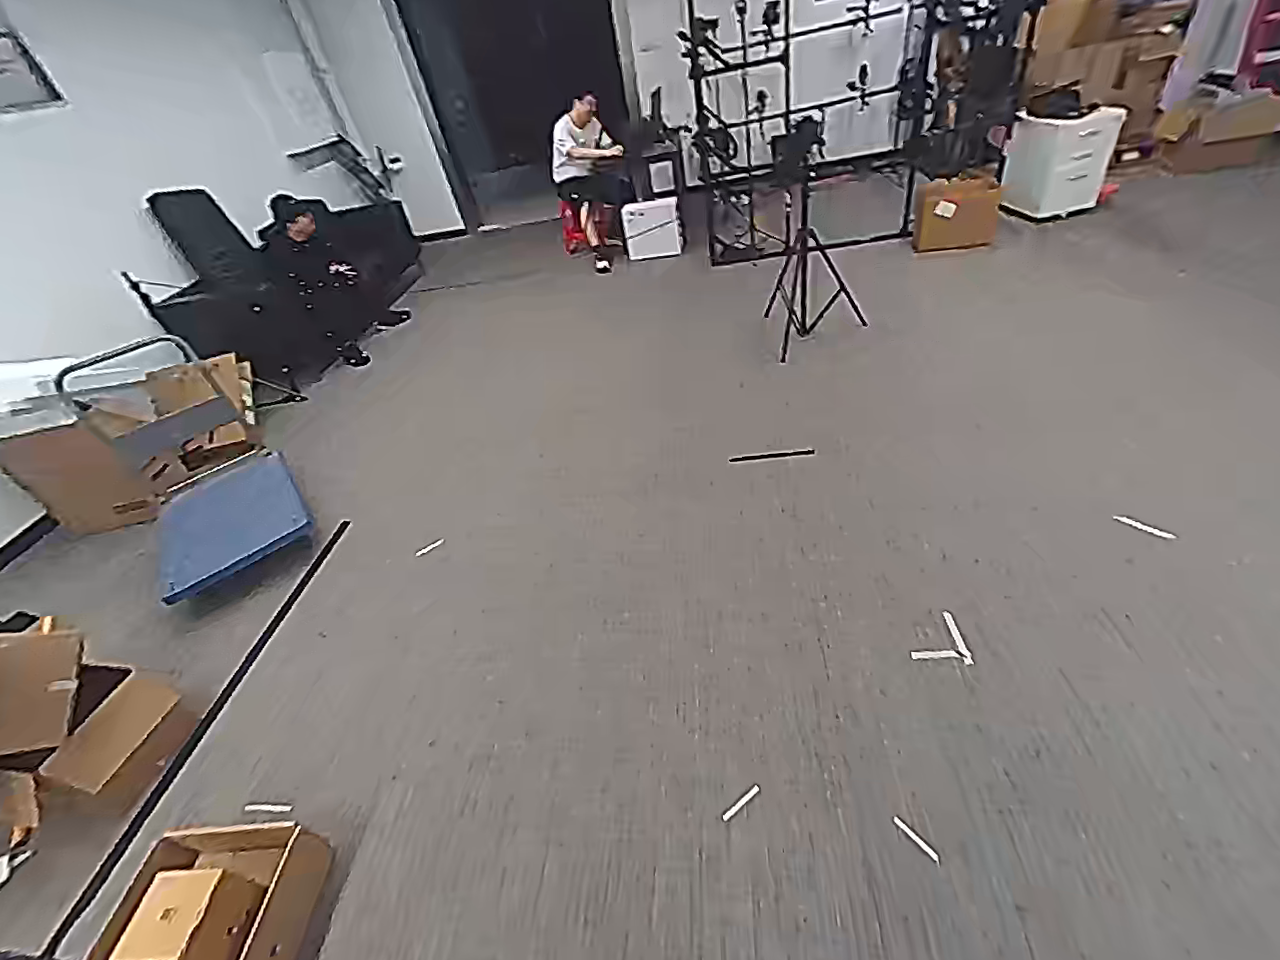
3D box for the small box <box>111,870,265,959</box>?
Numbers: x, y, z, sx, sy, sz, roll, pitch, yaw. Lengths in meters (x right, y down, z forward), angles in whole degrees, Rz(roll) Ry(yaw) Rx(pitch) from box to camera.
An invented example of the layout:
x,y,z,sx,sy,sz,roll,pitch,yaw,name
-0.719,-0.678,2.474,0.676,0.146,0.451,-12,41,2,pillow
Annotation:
x,y,z,sx,sy,sz,roll,pitch,yaw,name
-1.035,1.031,1.254,0.179,0.176,0.168,-8,40,6,small box
